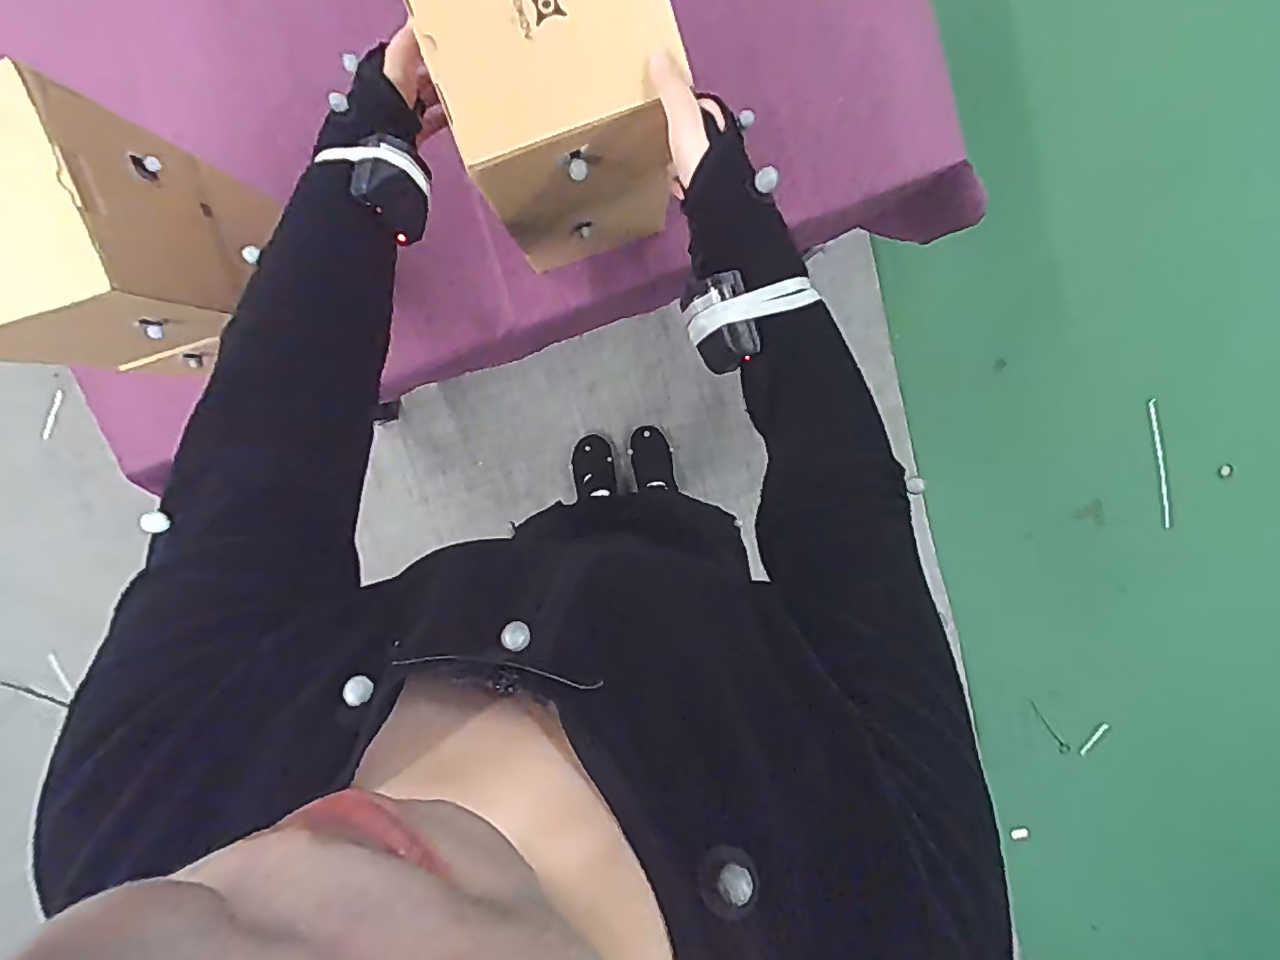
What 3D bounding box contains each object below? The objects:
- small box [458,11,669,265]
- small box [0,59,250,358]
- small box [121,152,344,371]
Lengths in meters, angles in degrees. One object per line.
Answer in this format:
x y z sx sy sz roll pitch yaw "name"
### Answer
-0.074 -0.365 0.616 0.179 0.176 0.168 -17 99 2 "small box"
-0.489 -0.211 0.473 0.179 0.176 0.168 -15 99 3 "small box"
-0.491 -0.237 0.634 0.168 0.176 0.179 -16 98 3 "small box"
